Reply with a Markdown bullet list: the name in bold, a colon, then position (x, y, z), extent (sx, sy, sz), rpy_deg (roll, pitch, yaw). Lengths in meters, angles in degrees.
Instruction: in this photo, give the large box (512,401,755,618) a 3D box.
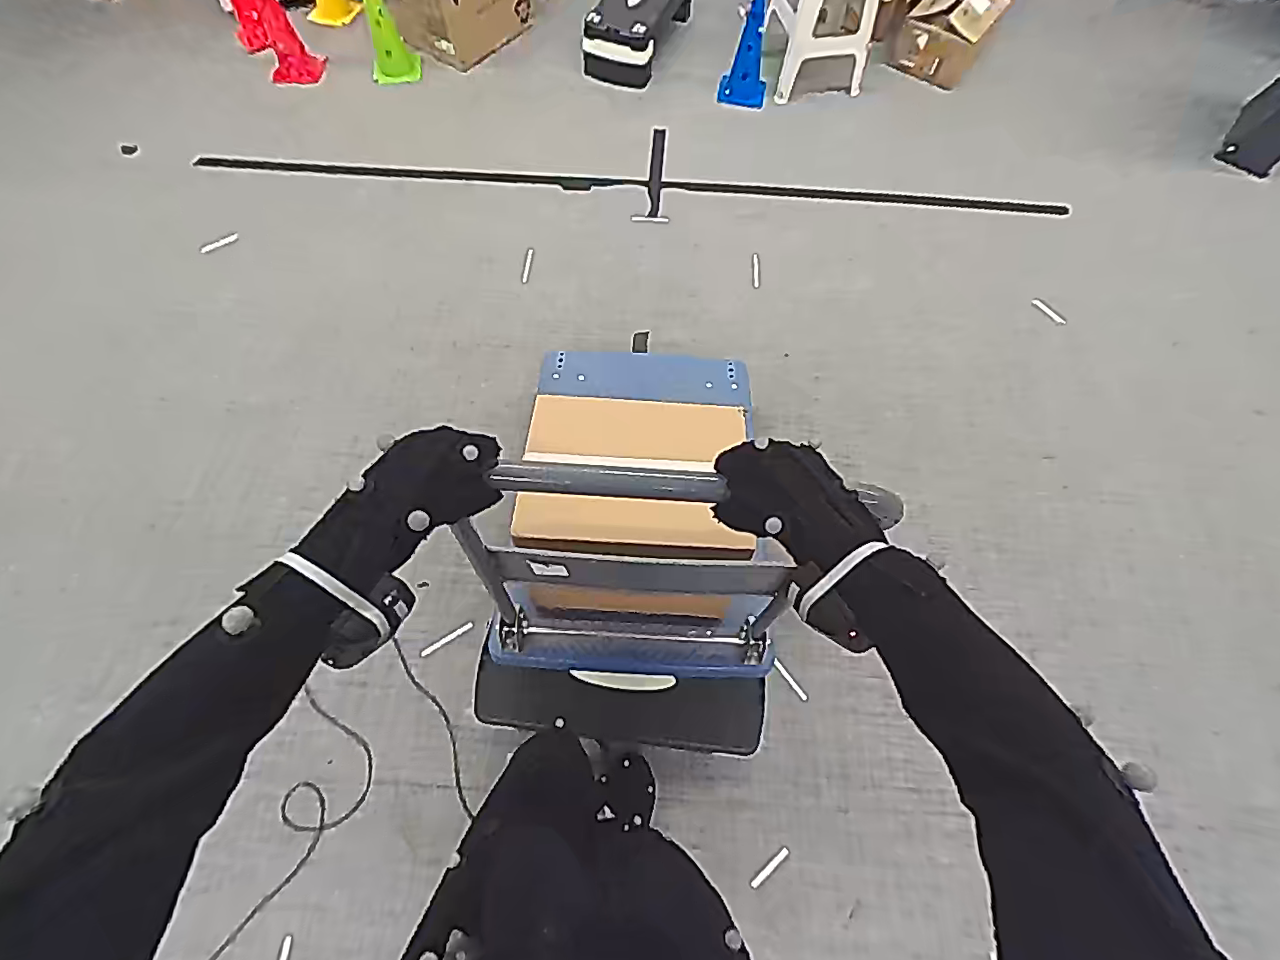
- **large box**: position (-0.016, 0.069, 1.077), extent (0.408, 0.320, 0.320), rpy_deg (4, 56, -2)
